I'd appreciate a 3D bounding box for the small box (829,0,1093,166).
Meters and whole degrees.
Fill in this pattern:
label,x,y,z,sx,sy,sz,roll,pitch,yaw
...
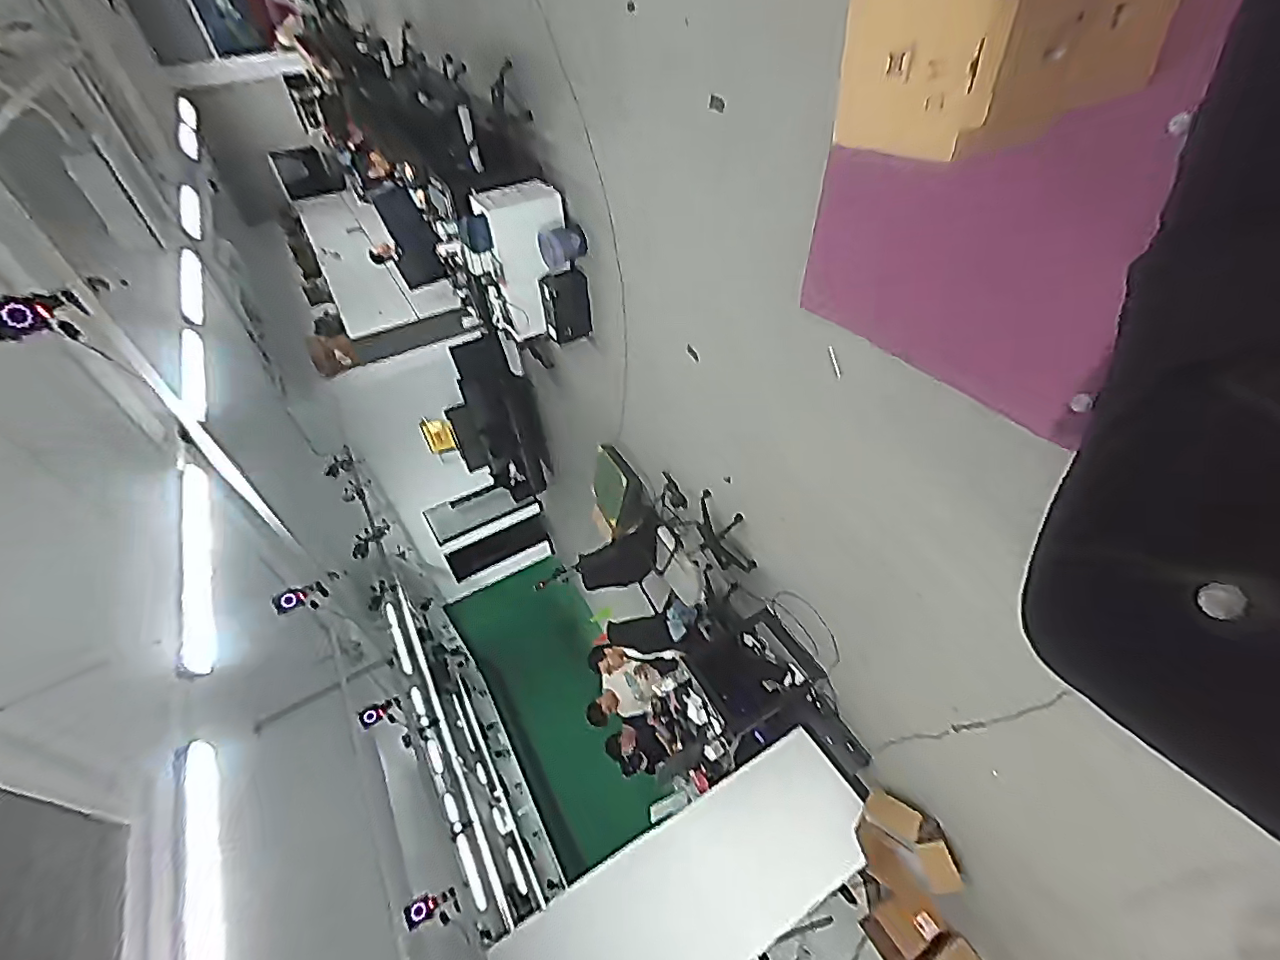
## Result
label,x,y,z,sx,sy,sz,roll,pitch,yaw
small box,0.345,-0.470,0.601,0.179,0.176,0.168,47,154,42
